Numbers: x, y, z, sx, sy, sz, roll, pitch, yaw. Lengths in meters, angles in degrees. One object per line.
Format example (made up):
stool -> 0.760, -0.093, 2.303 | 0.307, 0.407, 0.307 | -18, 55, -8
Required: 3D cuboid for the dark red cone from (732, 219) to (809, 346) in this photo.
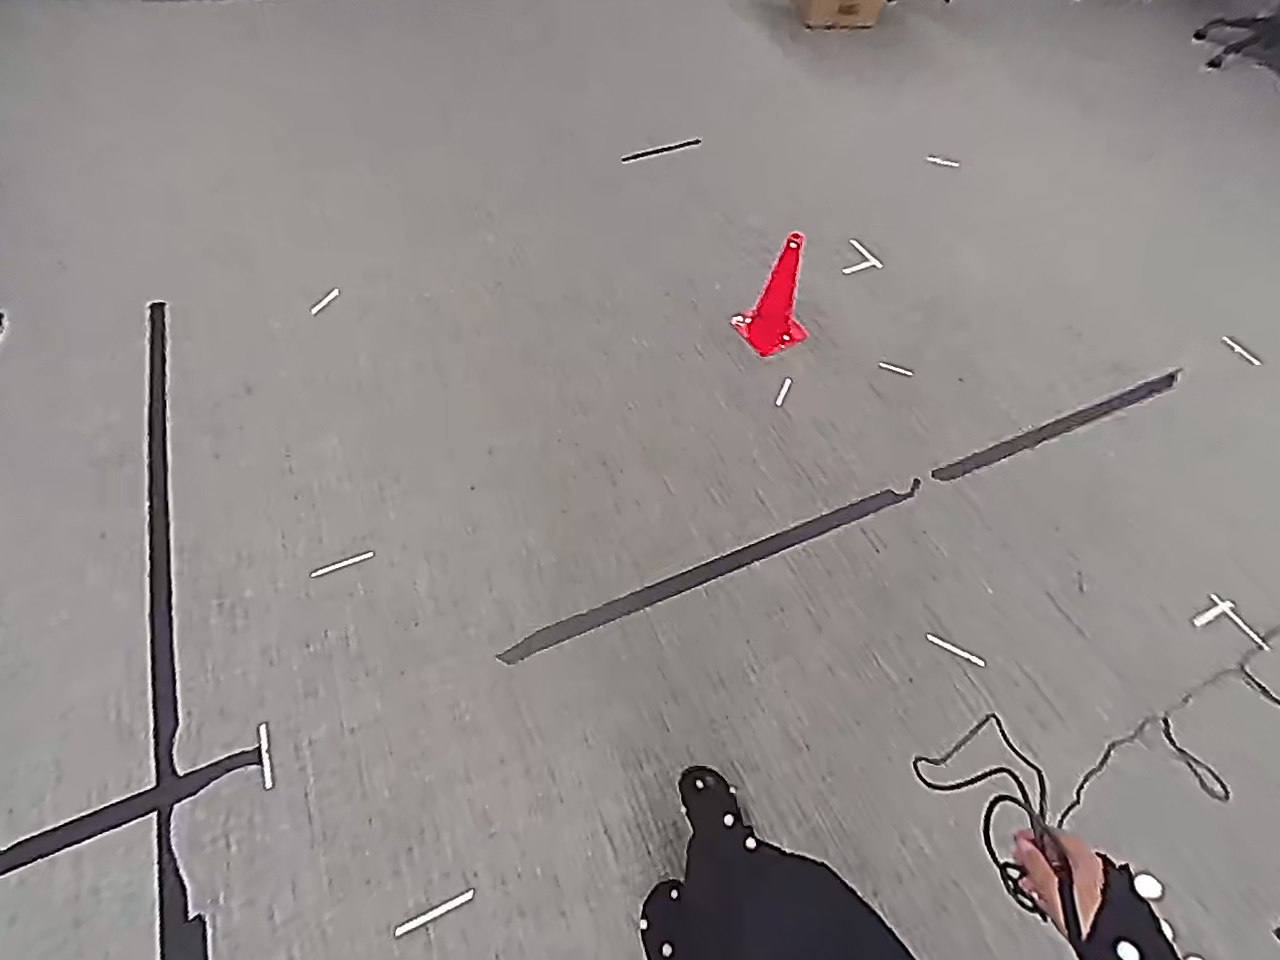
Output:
dark red cone -> 0.441, -0.619, 1.675 | 0.202, 0.394, 0.201 | -28, 65, -16
